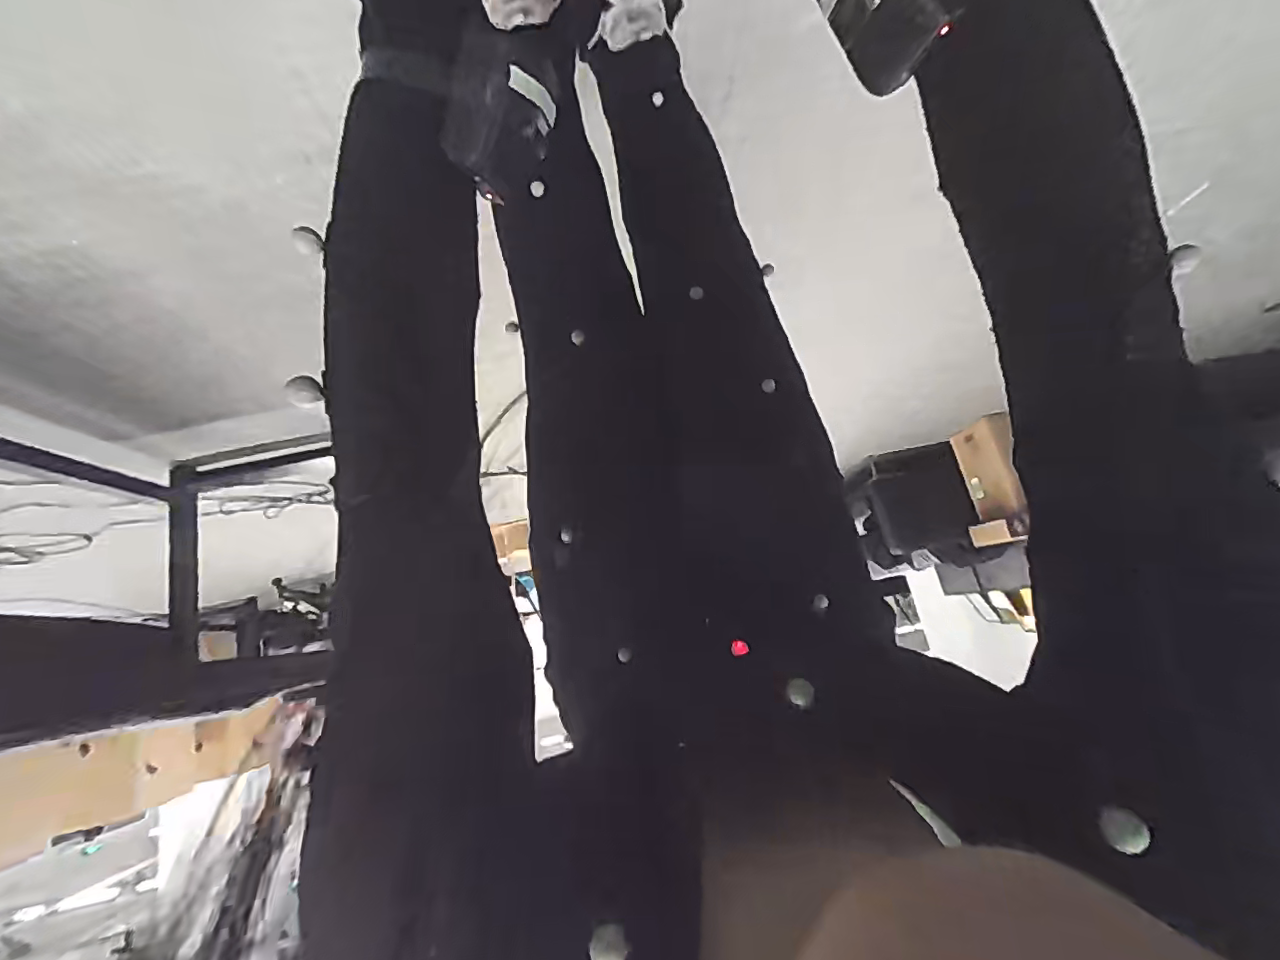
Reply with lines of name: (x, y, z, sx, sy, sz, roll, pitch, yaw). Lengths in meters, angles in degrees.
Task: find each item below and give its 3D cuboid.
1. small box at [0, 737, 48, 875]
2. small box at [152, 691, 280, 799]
small box: (-0.955, 0.459, 0.713, 0.168, 0.176, 0.179, -11, 166, -2)
small box: (-0.972, 0.600, 1.247, 0.168, 0.176, 0.179, -13, 166, 1)
